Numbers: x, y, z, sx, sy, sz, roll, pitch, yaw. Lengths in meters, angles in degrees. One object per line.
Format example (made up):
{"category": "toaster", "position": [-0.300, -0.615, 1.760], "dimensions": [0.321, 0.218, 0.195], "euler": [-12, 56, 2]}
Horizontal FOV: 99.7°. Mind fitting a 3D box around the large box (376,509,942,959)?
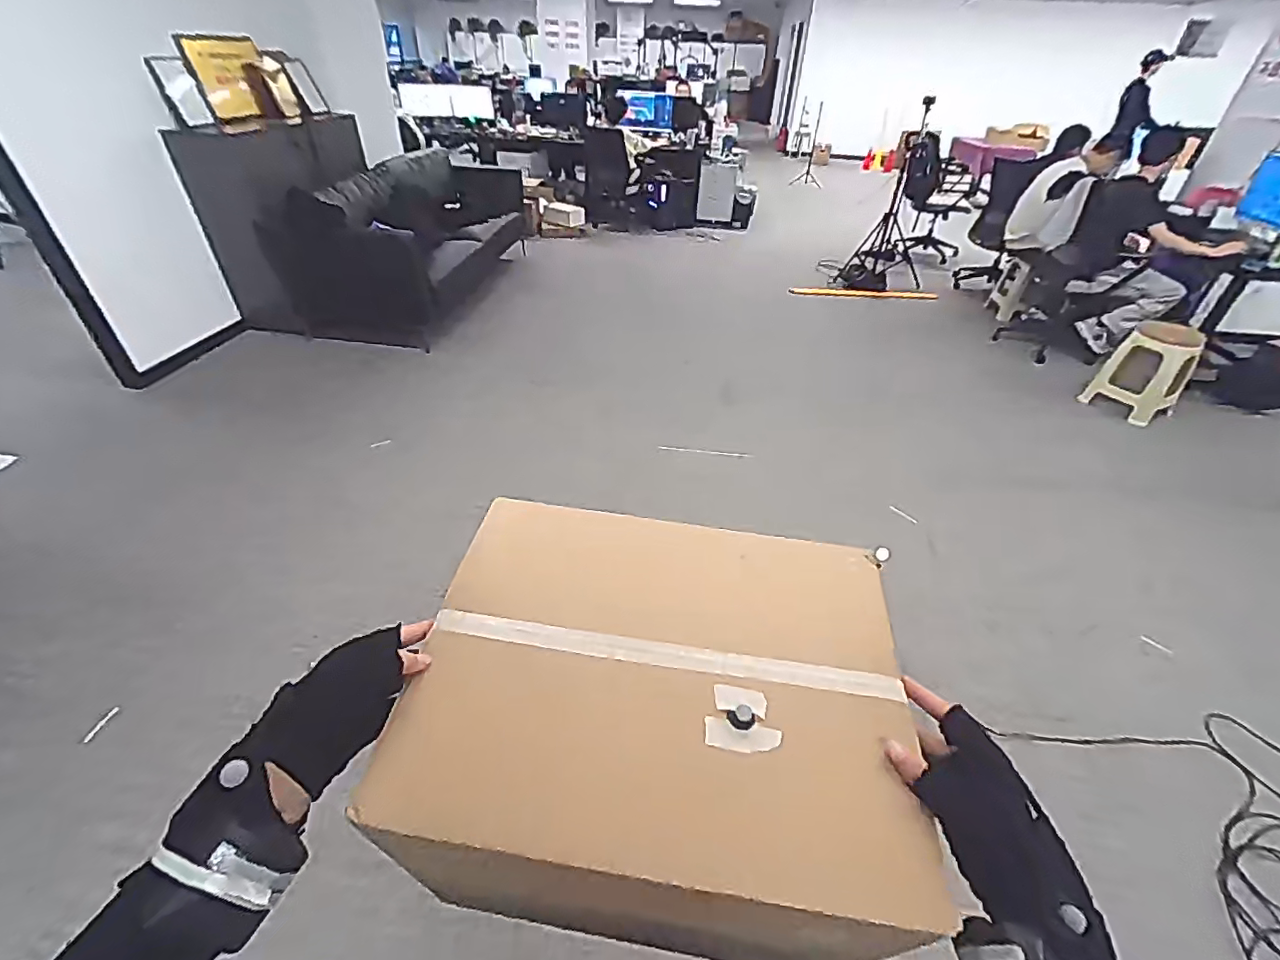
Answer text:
{"category": "large box", "position": [0.018, 0.264, 0.578], "dimensions": [0.408, 0.320, 0.320], "euler": [7, 44, 4]}
